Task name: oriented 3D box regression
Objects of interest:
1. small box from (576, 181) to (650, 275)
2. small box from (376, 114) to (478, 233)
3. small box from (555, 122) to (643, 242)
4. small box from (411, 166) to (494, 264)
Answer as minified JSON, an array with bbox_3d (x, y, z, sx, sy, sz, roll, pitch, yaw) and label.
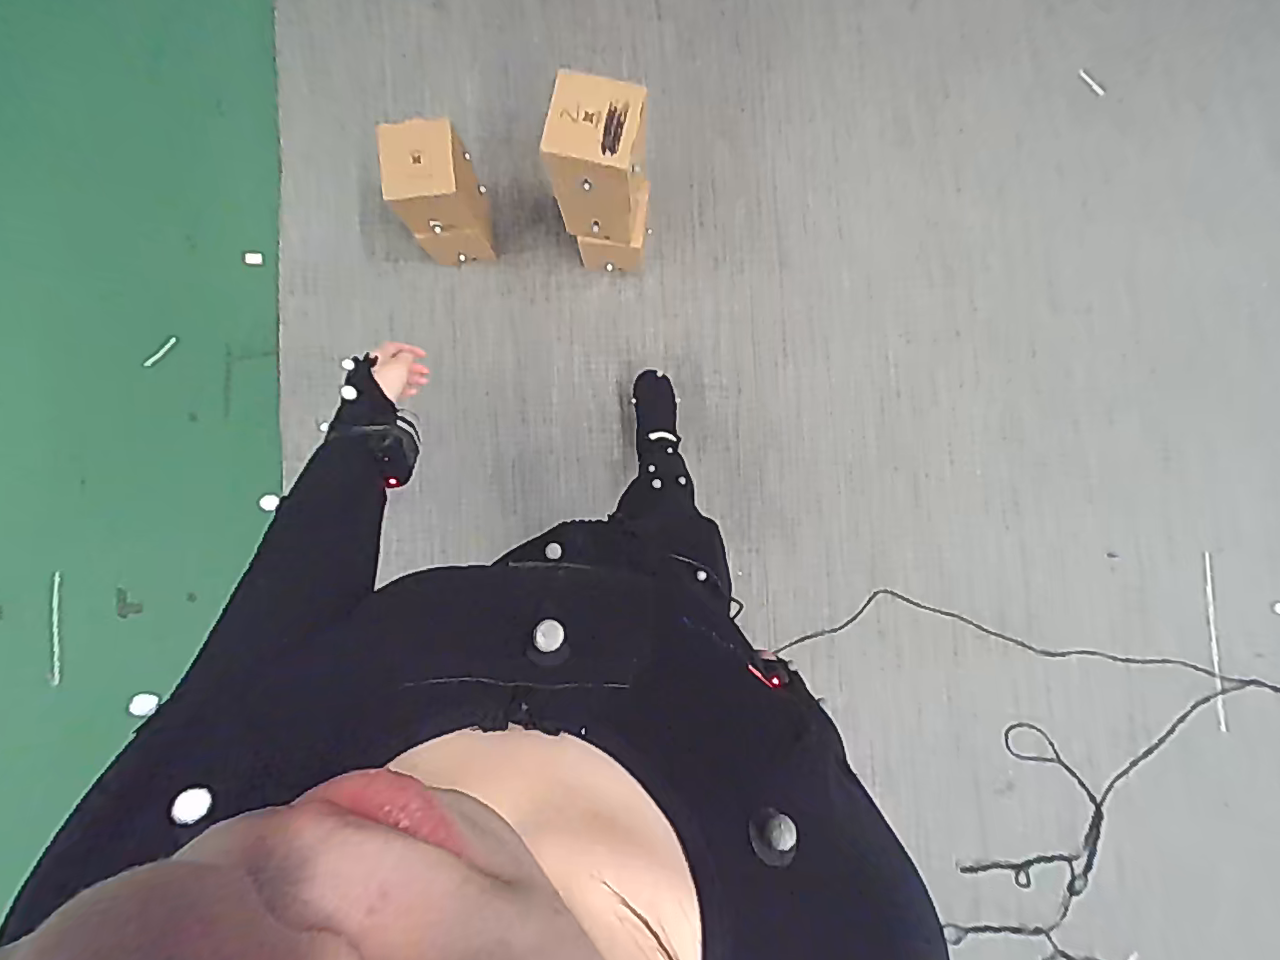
[{"bbox_3d":[-0.068,-0.665,1.419,0.168,0.176,0.179,8,89,1],"label":"small box"},{"bbox_3d":[-0.490,-0.708,1.263,0.168,0.176,0.179,-6,88,2],"label":"small box"},{"bbox_3d":[-0.088,-0.682,1.257,0.168,0.176,0.179,12,89,1],"label":"small box"},{"bbox_3d":[-0.494,-0.697,1.425,0.168,0.176,0.179,-6,88,1],"label":"small box"}]
